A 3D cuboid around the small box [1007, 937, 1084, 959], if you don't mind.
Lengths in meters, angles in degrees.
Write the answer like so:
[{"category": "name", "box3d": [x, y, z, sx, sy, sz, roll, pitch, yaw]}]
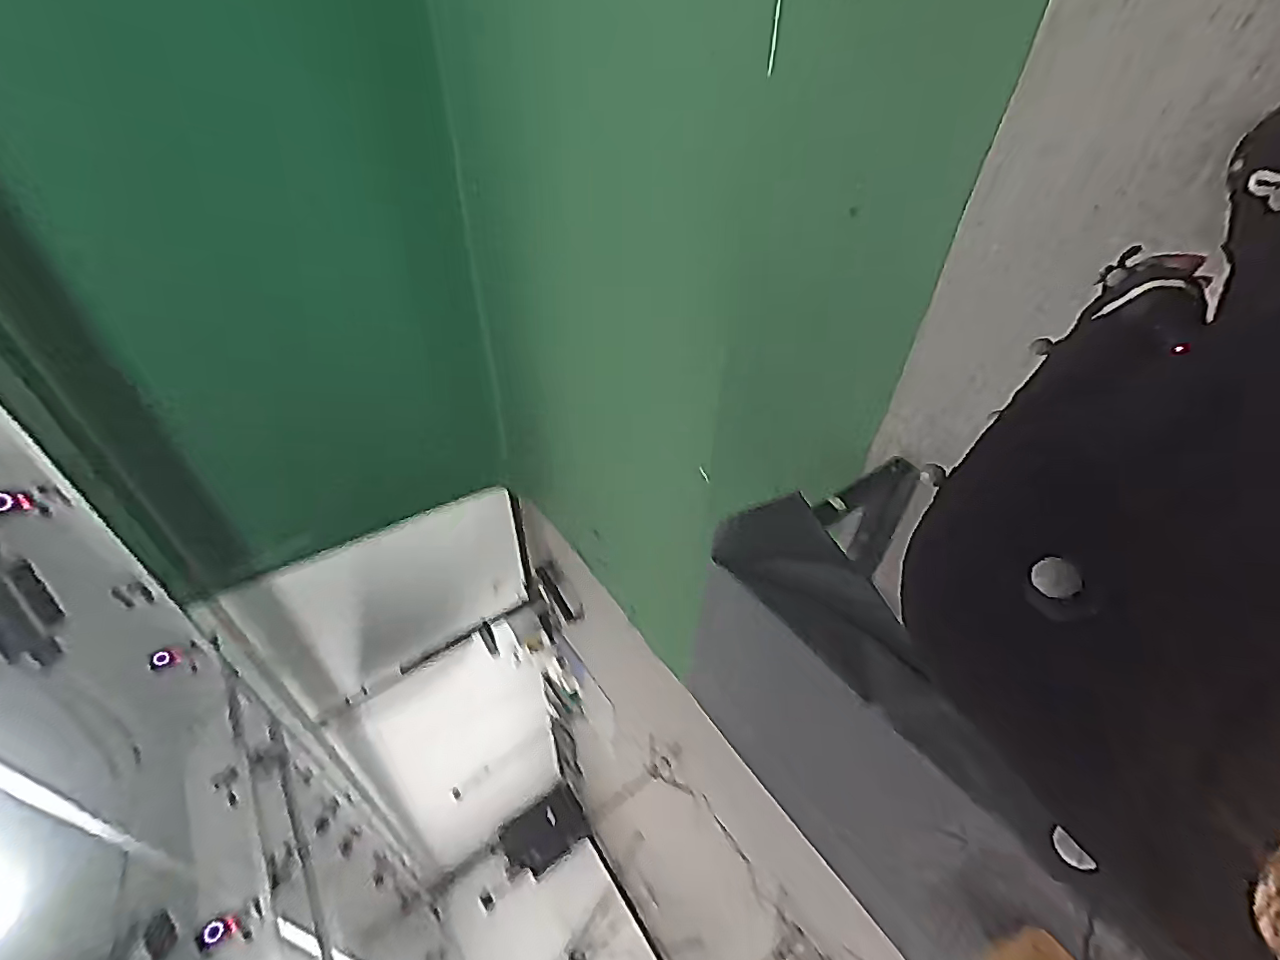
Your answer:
[{"category": "small box", "box3d": [0.627, 0.843, 0.810, 0.168, 0.176, 0.179, 42, 144, 38]}]
